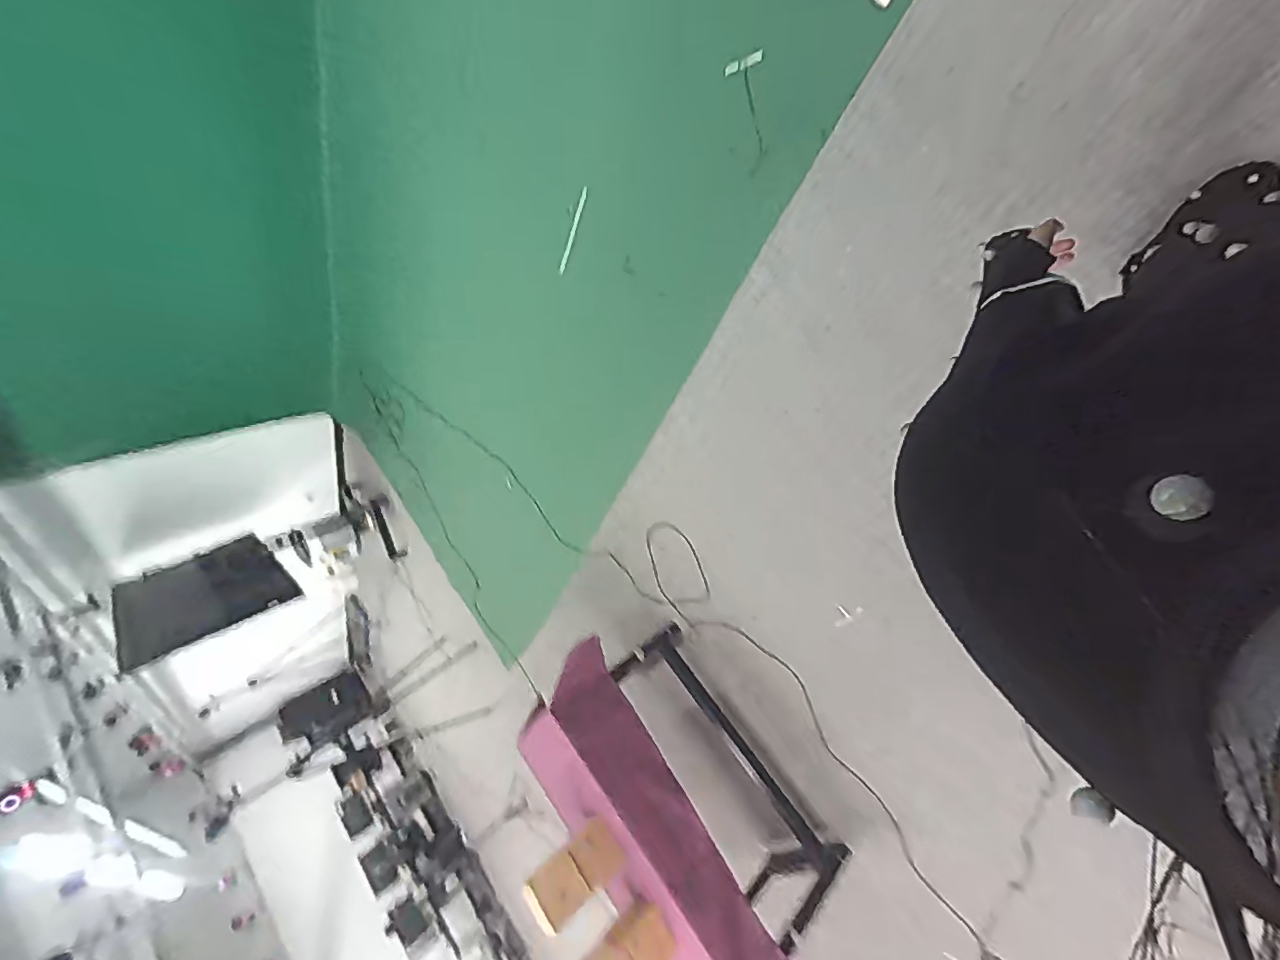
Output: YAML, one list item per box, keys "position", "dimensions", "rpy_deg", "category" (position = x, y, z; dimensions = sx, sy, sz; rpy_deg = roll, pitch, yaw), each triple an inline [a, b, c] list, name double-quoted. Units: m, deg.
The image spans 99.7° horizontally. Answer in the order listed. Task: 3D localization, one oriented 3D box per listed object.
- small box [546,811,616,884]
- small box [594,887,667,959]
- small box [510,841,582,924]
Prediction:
- position: [-0.226, 1.395, 2.064]
  dimensions: [0.179, 0.176, 0.168]
  rpy_deg: [52, 139, 15]
  category: "small box"
- position: [-0.031, 1.654, 1.983]
  dimensions: [0.179, 0.176, 0.168]
  rpy_deg: [59, 140, 8]
  category: "small box"
- position: [-0.336, 1.448, 1.954]
  dimensions: [0.179, 0.176, 0.168]
  rpy_deg: [54, 139, 13]
  category: "small box"
